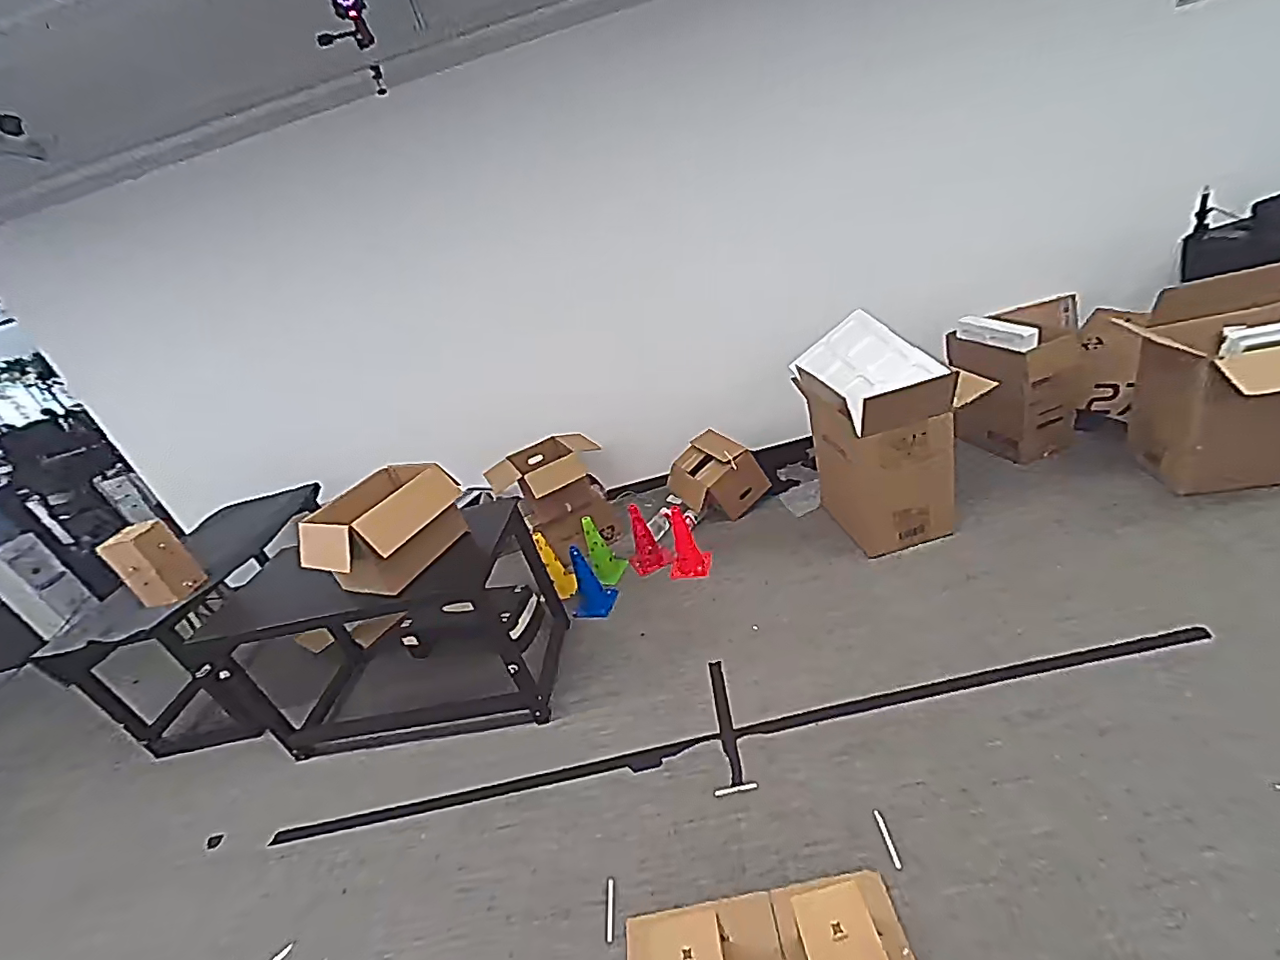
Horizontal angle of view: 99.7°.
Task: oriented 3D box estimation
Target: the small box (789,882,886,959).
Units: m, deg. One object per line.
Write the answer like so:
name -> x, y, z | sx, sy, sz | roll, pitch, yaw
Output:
small box -> 0.461, 1.086, 1.248 | 0.168, 0.176, 0.179 | -17, 27, 1

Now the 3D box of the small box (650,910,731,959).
small box -> 0.128, 1.169, 1.273 | 0.168, 0.176, 0.179 | -16, 27, 4
